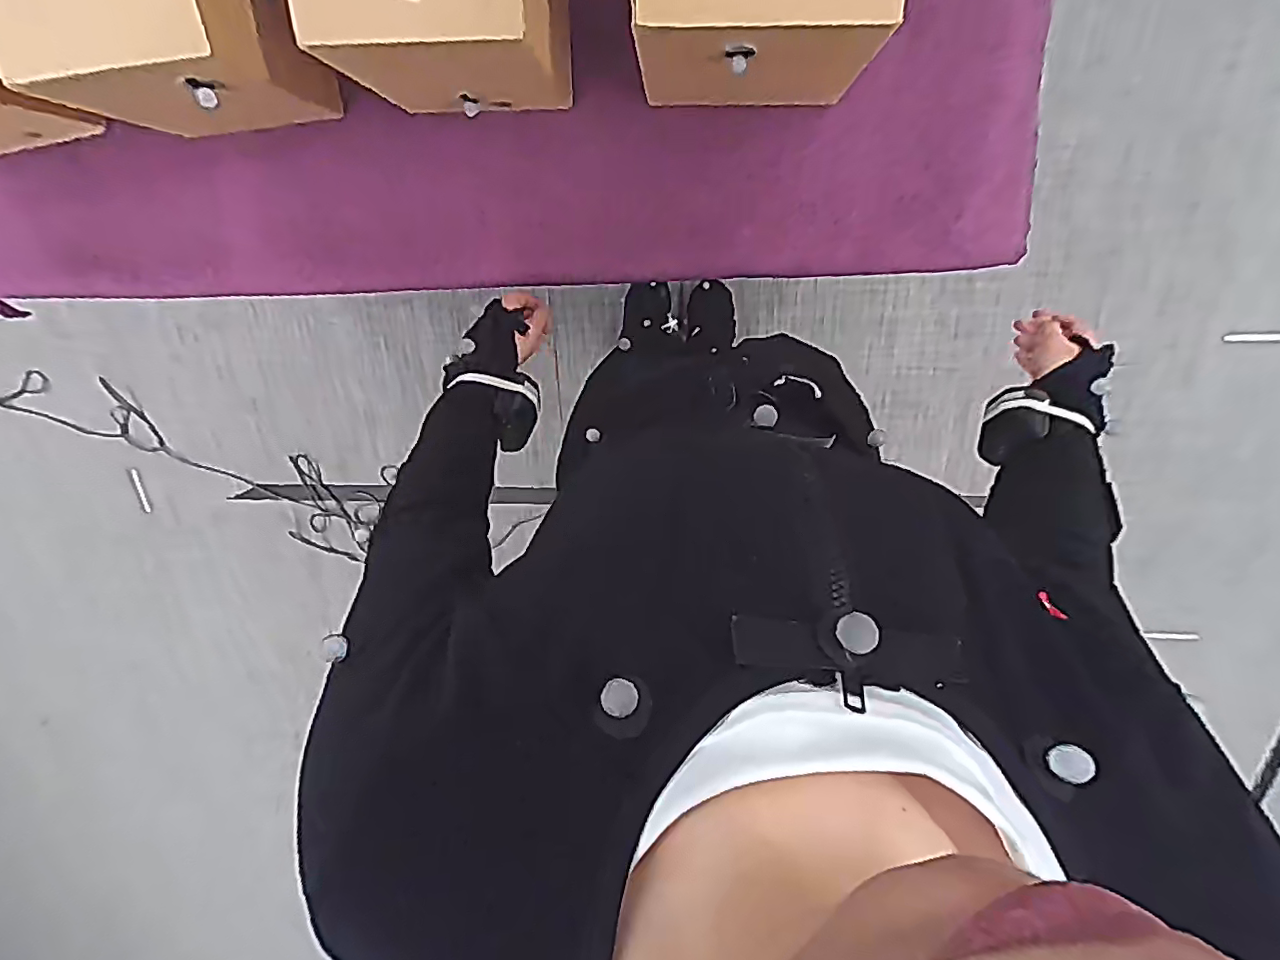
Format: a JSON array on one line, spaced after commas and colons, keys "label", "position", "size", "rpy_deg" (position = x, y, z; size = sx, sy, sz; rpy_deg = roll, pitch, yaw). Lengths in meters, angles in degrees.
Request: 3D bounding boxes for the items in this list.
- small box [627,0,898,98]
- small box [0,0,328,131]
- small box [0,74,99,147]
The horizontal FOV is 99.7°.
[{"label": "small box", "position": [0.087, -0.404, 0.399], "size": [0.179, 0.176, 0.168], "rpy_deg": [3, 111, 3]}, {"label": "small box", "position": [-0.391, -0.406, 0.442], "size": [0.179, 0.176, 0.168], "rpy_deg": [-3, 110, 6]}, {"label": "small box", "position": [-0.646, -0.404, 0.467], "size": [0.168, 0.176, 0.179], "rpy_deg": [-6, 110, 7]}]
